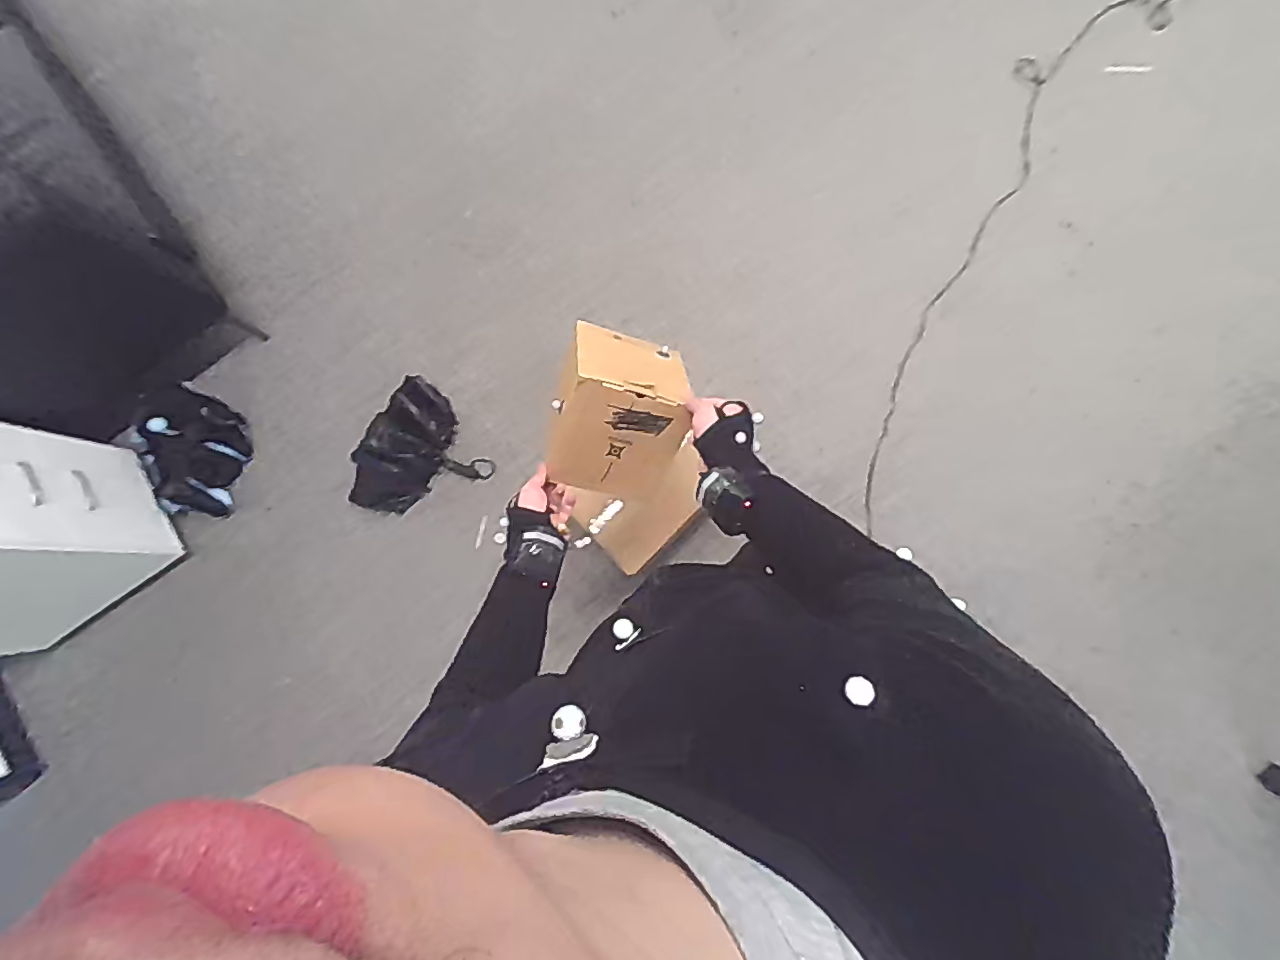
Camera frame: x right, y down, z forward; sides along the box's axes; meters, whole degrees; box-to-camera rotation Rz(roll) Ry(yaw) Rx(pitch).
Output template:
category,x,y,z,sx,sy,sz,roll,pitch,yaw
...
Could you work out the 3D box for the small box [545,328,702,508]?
category,x,y,z,sx,sy,sz,roll,pitch,yaw
small box,-0.035,-0.092,0.773,0.168,0.176,0.179,14,125,-17
